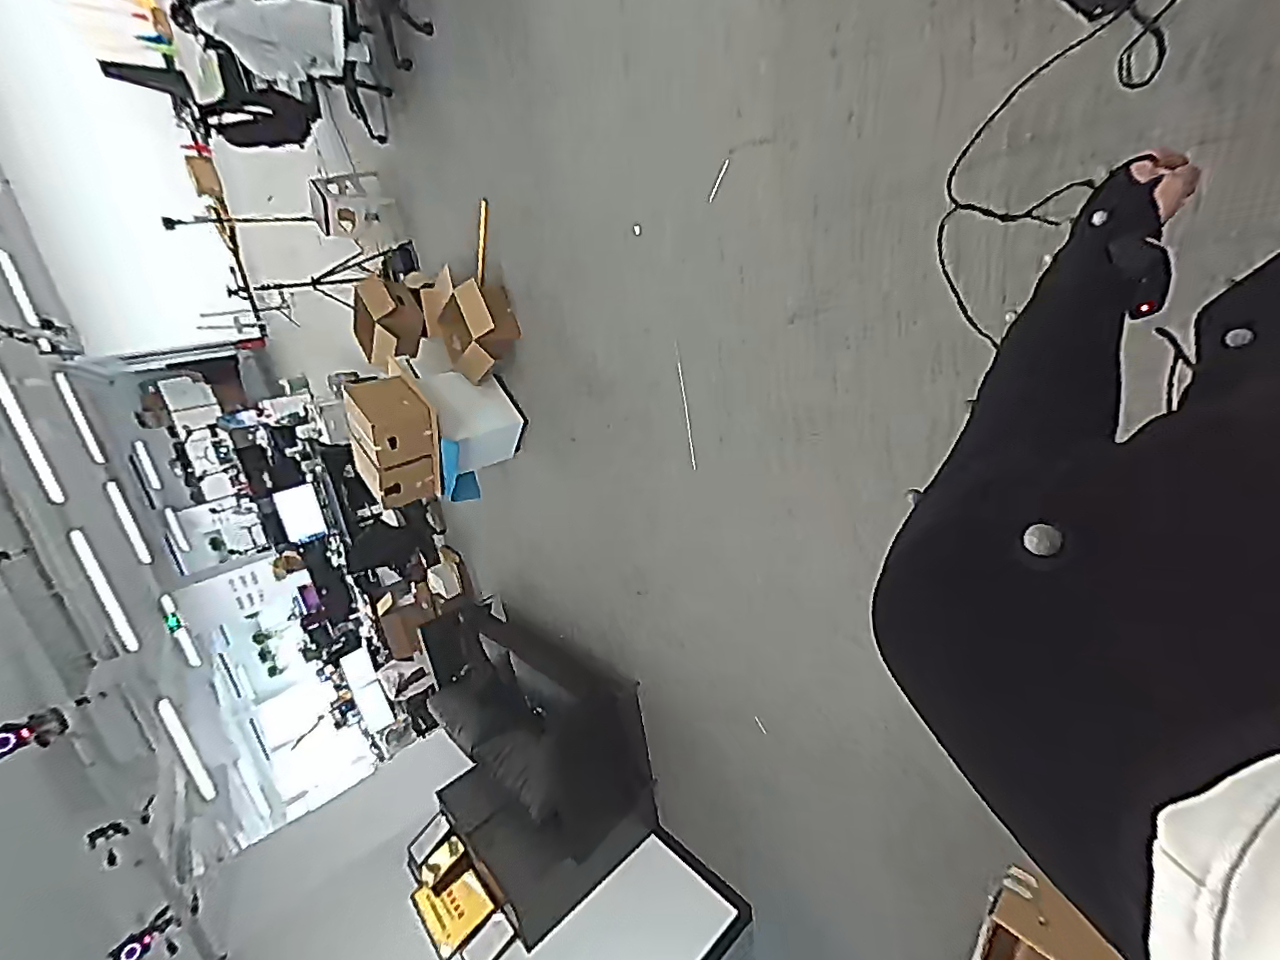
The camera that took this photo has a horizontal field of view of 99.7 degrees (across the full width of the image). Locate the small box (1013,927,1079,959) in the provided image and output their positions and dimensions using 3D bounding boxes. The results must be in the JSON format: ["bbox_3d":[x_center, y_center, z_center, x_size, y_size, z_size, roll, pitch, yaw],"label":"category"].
[{"bbox_3d":[1.001,1.257,1.317,0.168,0.176,0.179,22,125,44],"label":"small box"}]
